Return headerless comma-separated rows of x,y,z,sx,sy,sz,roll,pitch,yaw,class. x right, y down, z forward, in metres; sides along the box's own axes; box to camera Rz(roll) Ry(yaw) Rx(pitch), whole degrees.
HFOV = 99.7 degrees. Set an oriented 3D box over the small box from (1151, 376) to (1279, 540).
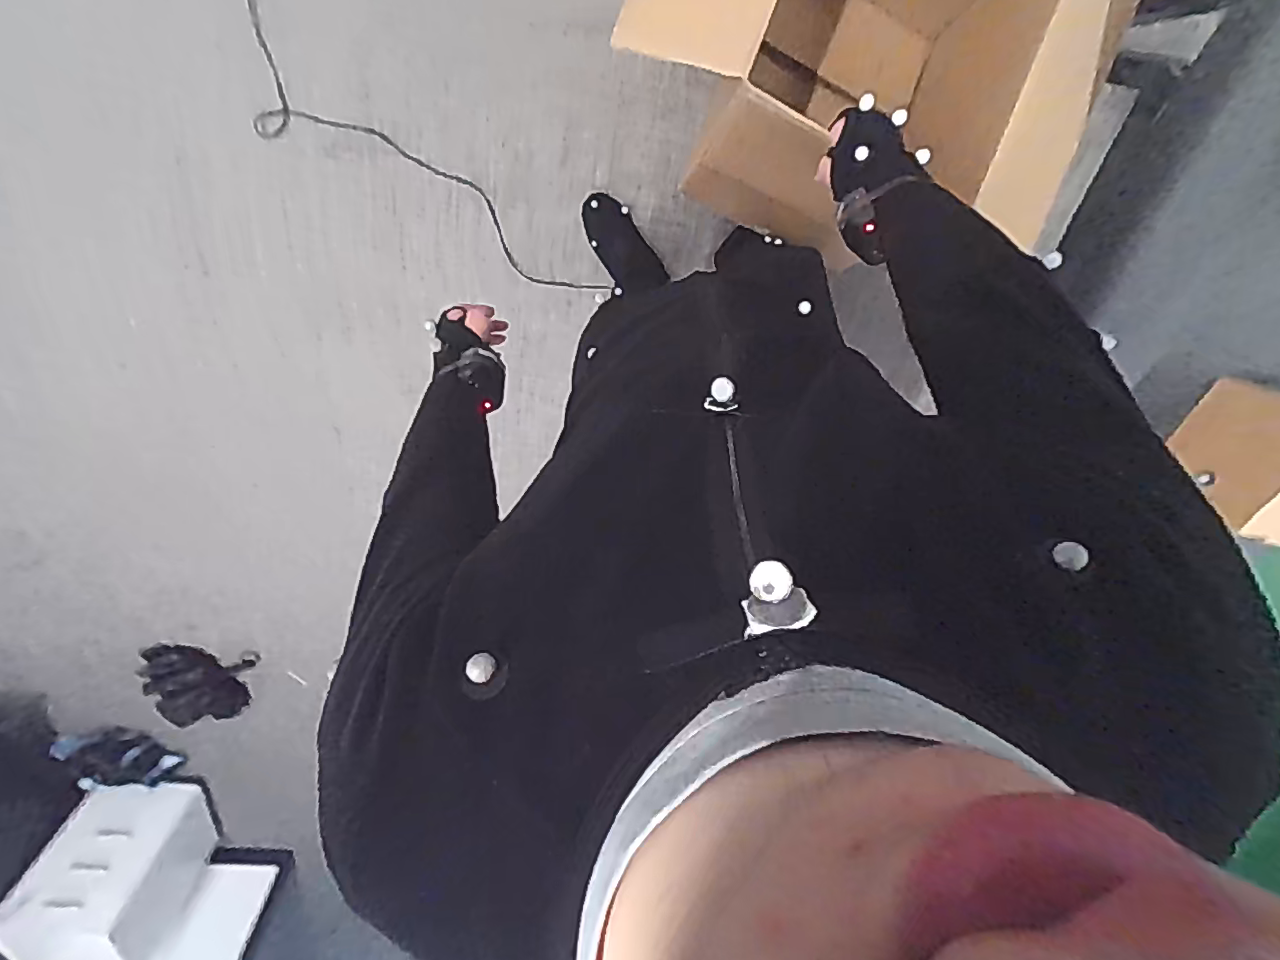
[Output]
0.921,-0.029,0.791,0.168,0.176,0.179,8,121,-10,small box
